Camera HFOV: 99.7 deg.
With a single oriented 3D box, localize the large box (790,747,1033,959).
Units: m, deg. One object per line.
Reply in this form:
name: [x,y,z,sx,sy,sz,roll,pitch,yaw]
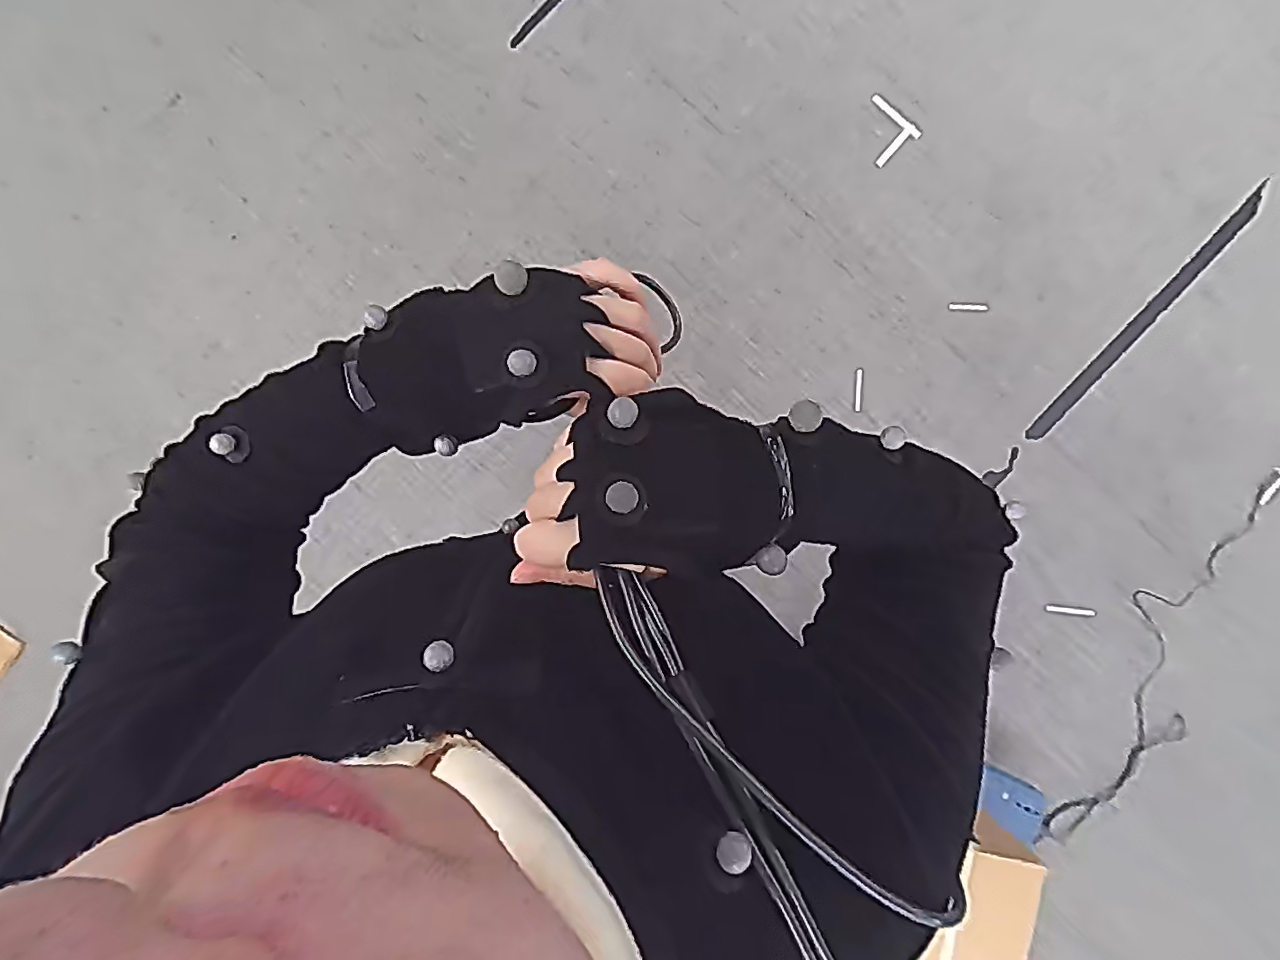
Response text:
large box: [0.555,0.867,1.170,0.320,0.320,0.408,14,90,0]
